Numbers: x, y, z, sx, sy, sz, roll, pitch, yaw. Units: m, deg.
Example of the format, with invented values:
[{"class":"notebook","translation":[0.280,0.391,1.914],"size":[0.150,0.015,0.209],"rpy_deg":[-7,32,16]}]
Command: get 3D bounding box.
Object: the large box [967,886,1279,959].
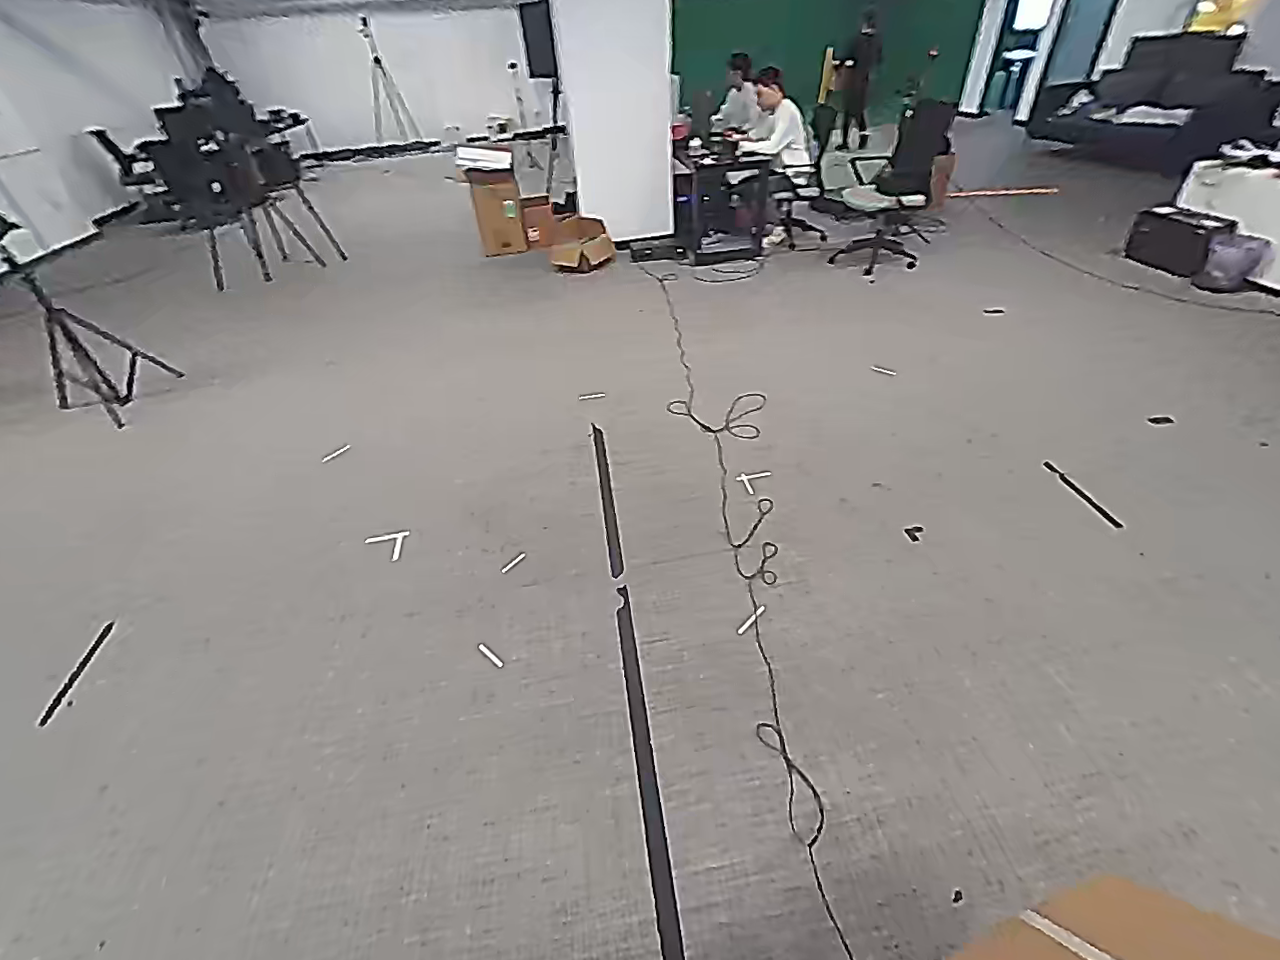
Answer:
[{"class":"large box","translation":[0.627,0.717,0.550],"size":[0.320,0.408,0.320],"rpy_deg":[-19,74,-9]}]
